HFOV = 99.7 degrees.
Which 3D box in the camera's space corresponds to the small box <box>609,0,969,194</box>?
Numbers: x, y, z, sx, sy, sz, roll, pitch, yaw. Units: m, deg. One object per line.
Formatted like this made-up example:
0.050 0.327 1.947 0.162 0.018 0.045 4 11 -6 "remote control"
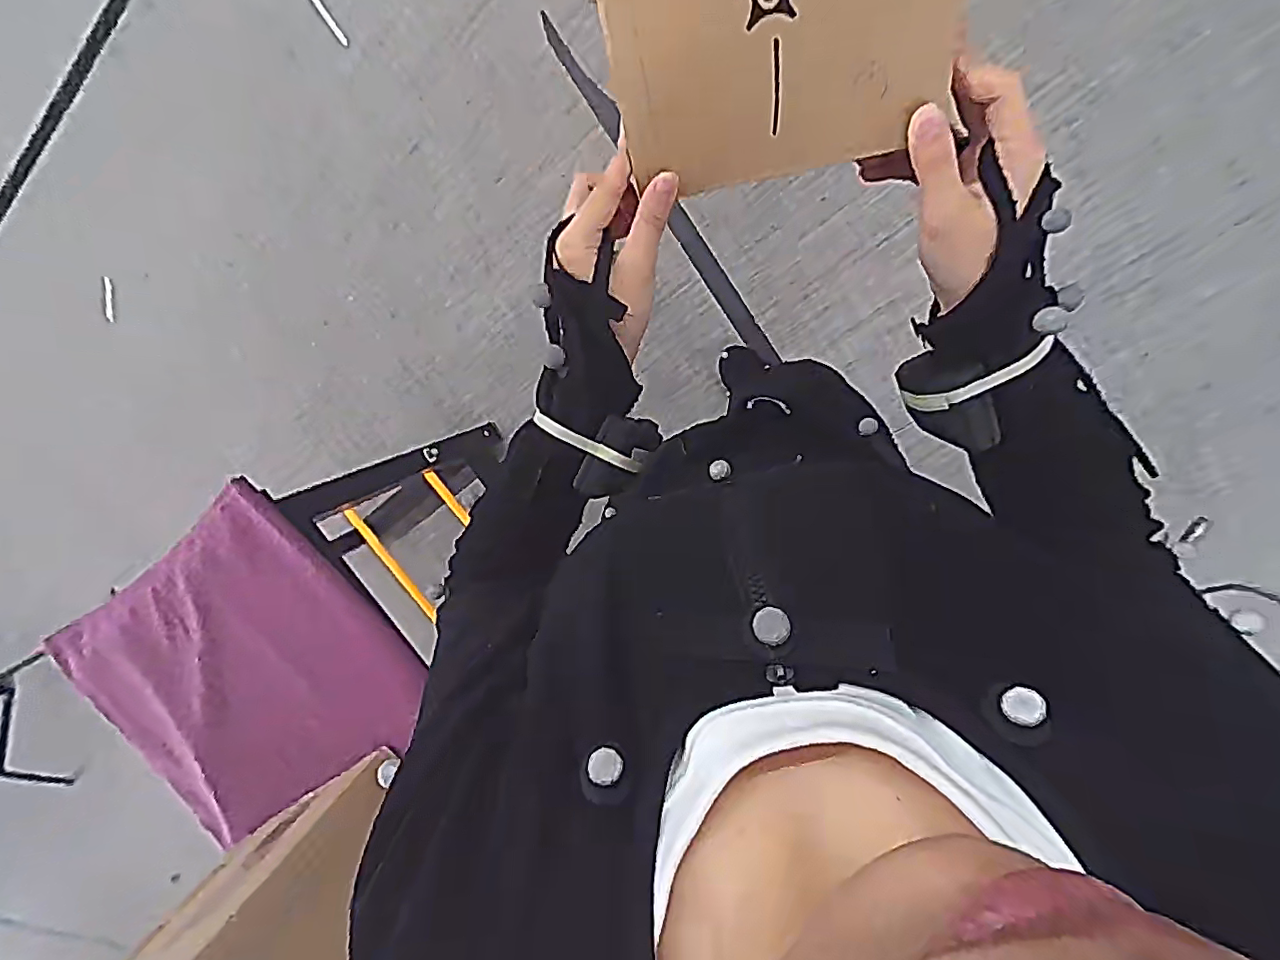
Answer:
0.074 -0.290 0.301 0.168 0.176 0.179 -4 133 15 "small box"
